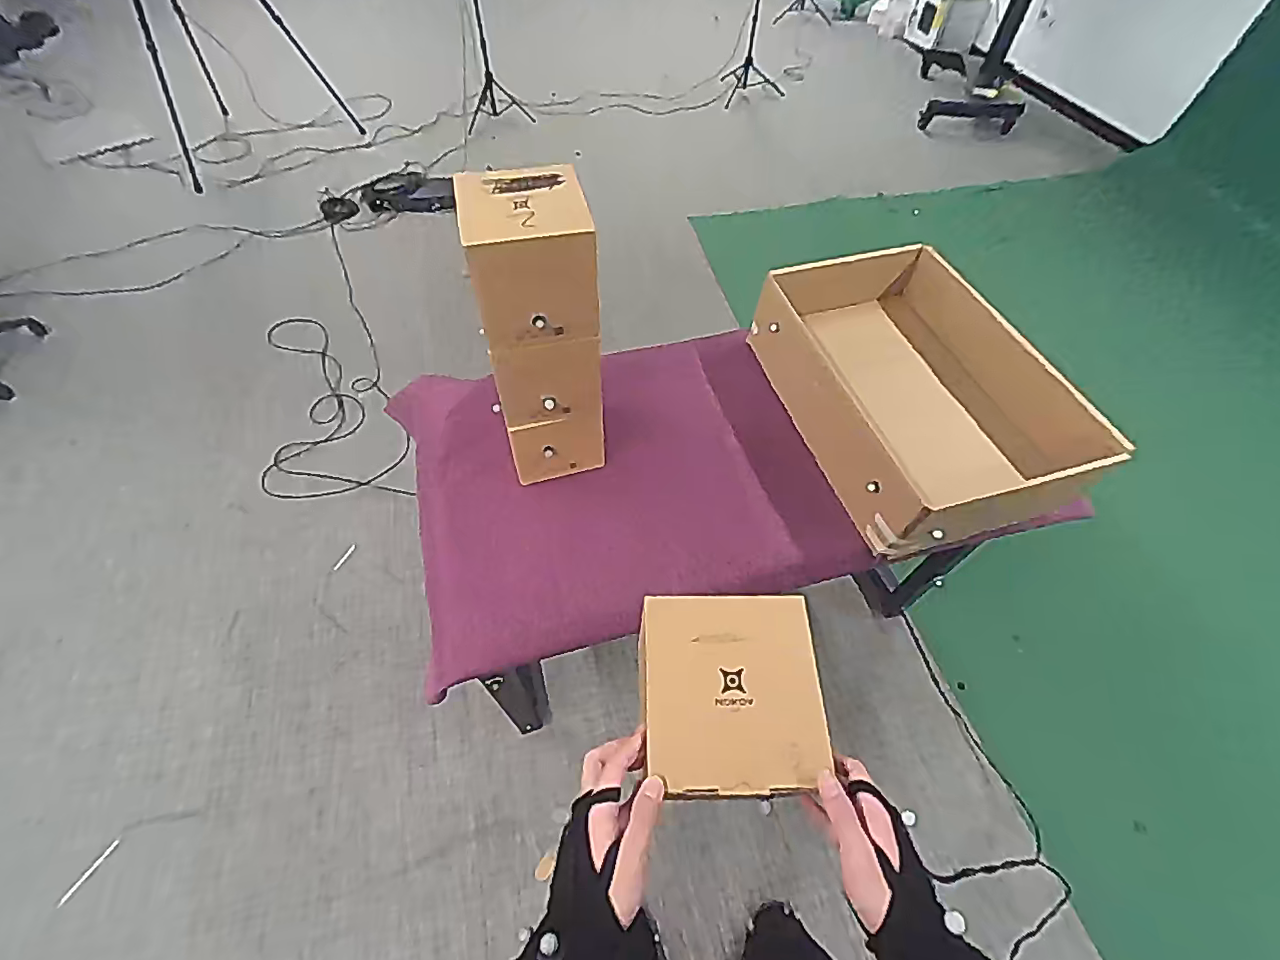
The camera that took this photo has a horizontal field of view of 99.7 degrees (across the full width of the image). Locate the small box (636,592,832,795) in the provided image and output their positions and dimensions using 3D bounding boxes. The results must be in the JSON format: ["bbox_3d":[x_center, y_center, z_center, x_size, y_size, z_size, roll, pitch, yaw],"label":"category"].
[{"bbox_3d":[0.082,0.231,0.572,0.168,0.176,0.179,1,57,-2],"label":"small box"}]

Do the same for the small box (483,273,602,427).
[{"bbox_3d":[-0.160,-0.215,0.902,0.168,0.176,0.179,-10,56,-9],"label":"small box"}]

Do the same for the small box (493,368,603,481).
[{"bbox_3d":[-0.170,-0.116,1.033,0.168,0.176,0.179,-14,56,-11],"label":"small box"}]
